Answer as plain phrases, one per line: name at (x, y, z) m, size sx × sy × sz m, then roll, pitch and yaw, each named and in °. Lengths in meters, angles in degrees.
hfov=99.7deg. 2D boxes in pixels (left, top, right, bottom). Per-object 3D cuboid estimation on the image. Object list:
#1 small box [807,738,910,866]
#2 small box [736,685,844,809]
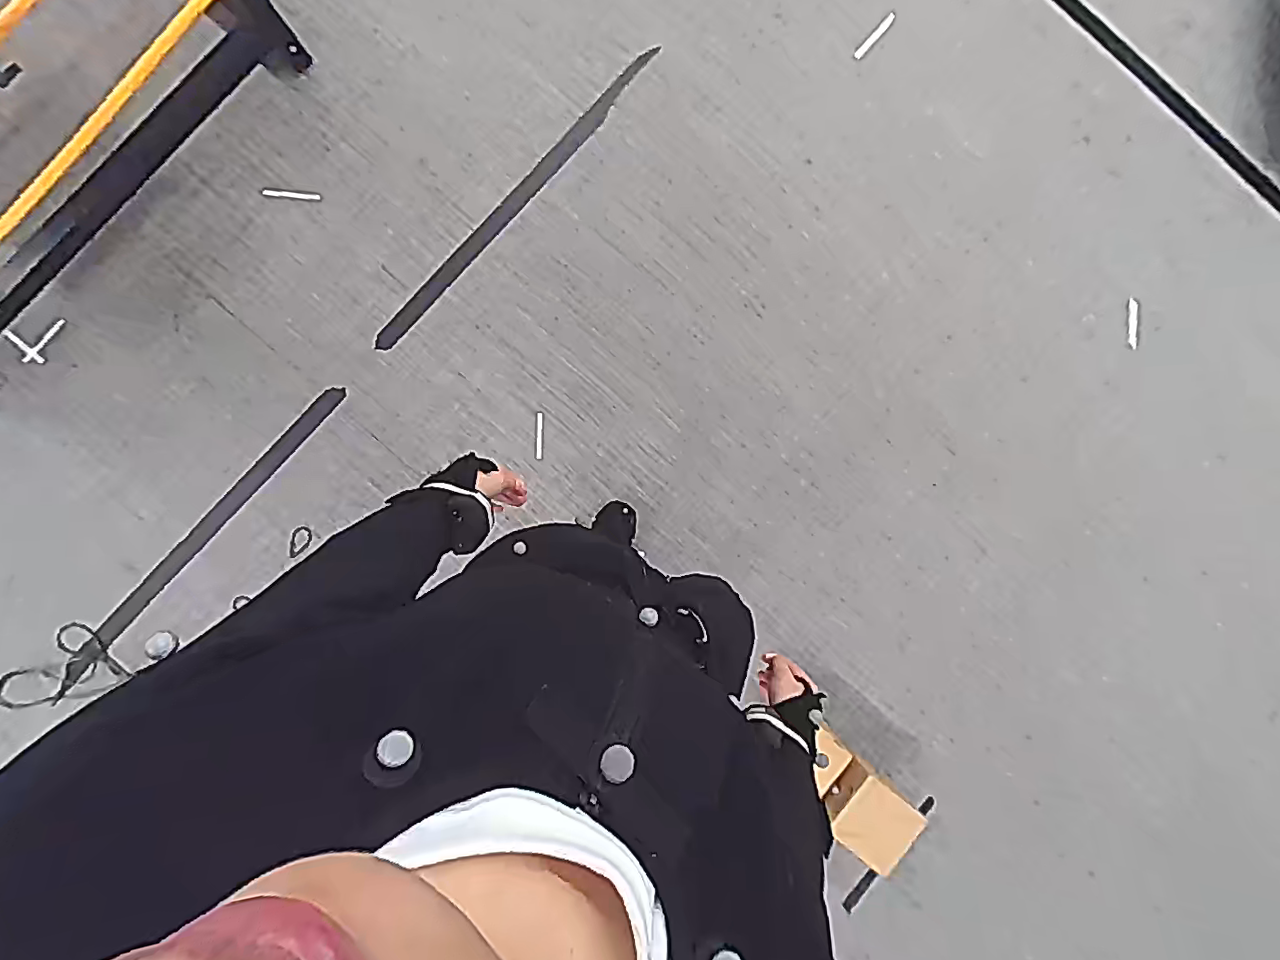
small box at (0.525, 0.786, 1.325) m, size 0.179 × 0.176 × 0.168 m, roll 39°, pitch 88°, yaw -2°
small box at (0.354, 0.642, 1.323) m, size 0.168 × 0.176 × 0.179 m, roll 40°, pitch 88°, yaw -2°
